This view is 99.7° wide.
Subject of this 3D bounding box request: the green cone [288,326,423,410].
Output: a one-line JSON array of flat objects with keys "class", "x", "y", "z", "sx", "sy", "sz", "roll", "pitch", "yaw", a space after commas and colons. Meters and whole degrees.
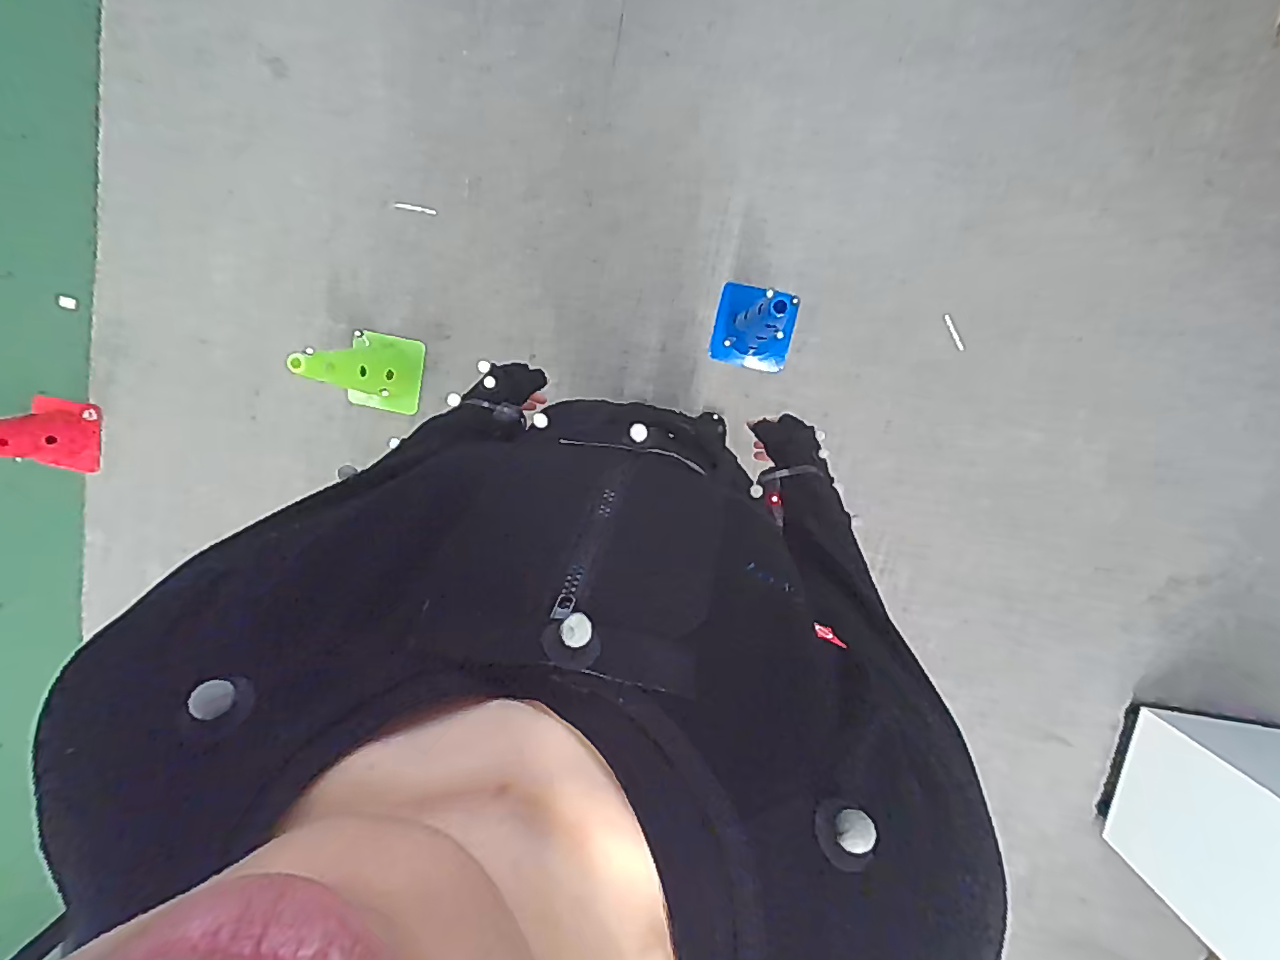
[{"class": "green cone", "x": -0.700, "y": -0.273, "z": 1.287, "sx": 0.202, "sy": 0.368, "sz": 0.200, "roll": 11, "pitch": 100, "yaw": 2}]
